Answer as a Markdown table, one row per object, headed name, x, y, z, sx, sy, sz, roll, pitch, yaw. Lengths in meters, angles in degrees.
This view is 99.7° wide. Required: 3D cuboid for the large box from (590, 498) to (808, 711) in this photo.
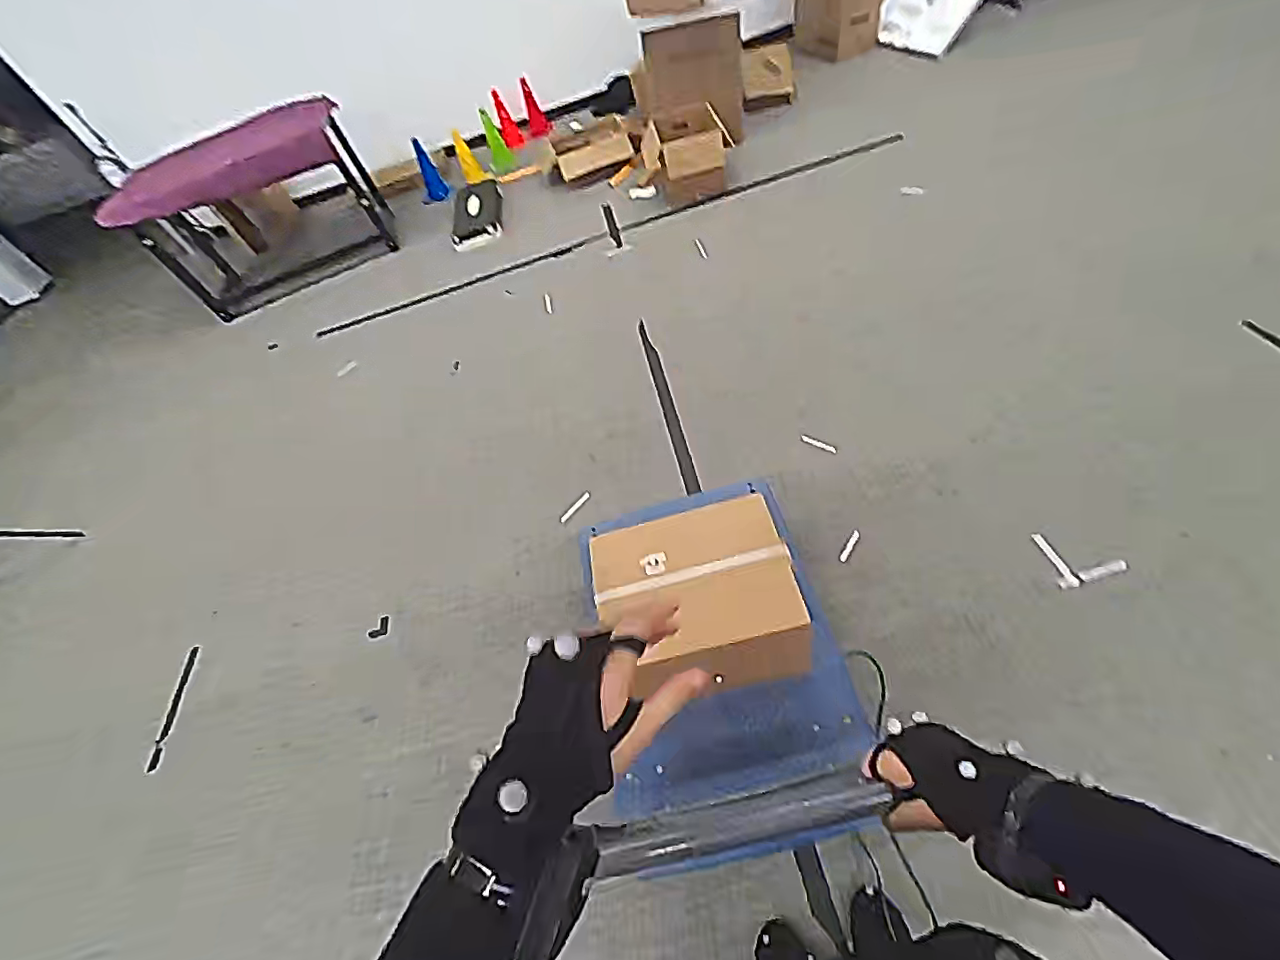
| name | x | y | z | sx | sy | sz | roll | pitch | yaw |
| --- | --- | --- | --- | --- | --- | --- | --- | --- | --- |
| large box | 0.138 | 0.297 | 1.249 | 0.408 | 0.320 | 0.320 | -17 | 51 | 5 |
